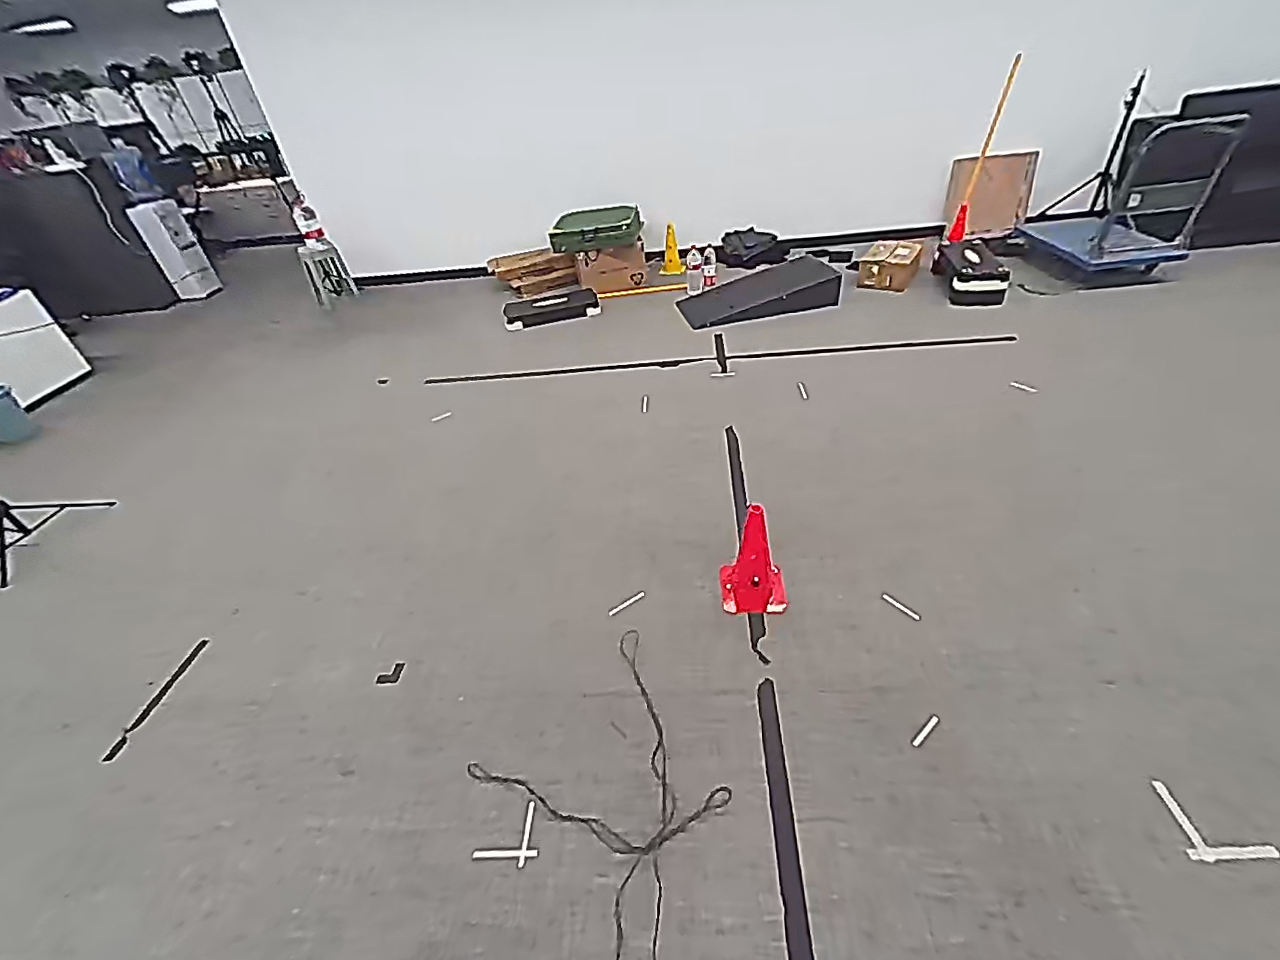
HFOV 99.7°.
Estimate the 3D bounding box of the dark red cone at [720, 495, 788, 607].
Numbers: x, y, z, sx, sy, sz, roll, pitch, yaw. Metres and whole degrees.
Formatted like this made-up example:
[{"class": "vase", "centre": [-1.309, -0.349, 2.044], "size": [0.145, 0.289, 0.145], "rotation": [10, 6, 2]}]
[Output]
[{"class": "dark red cone", "centre": [0.348, 0.203, 1.657], "size": [0.201, 0.394, 0.202], "rotation": [-4, 39, 6]}]
